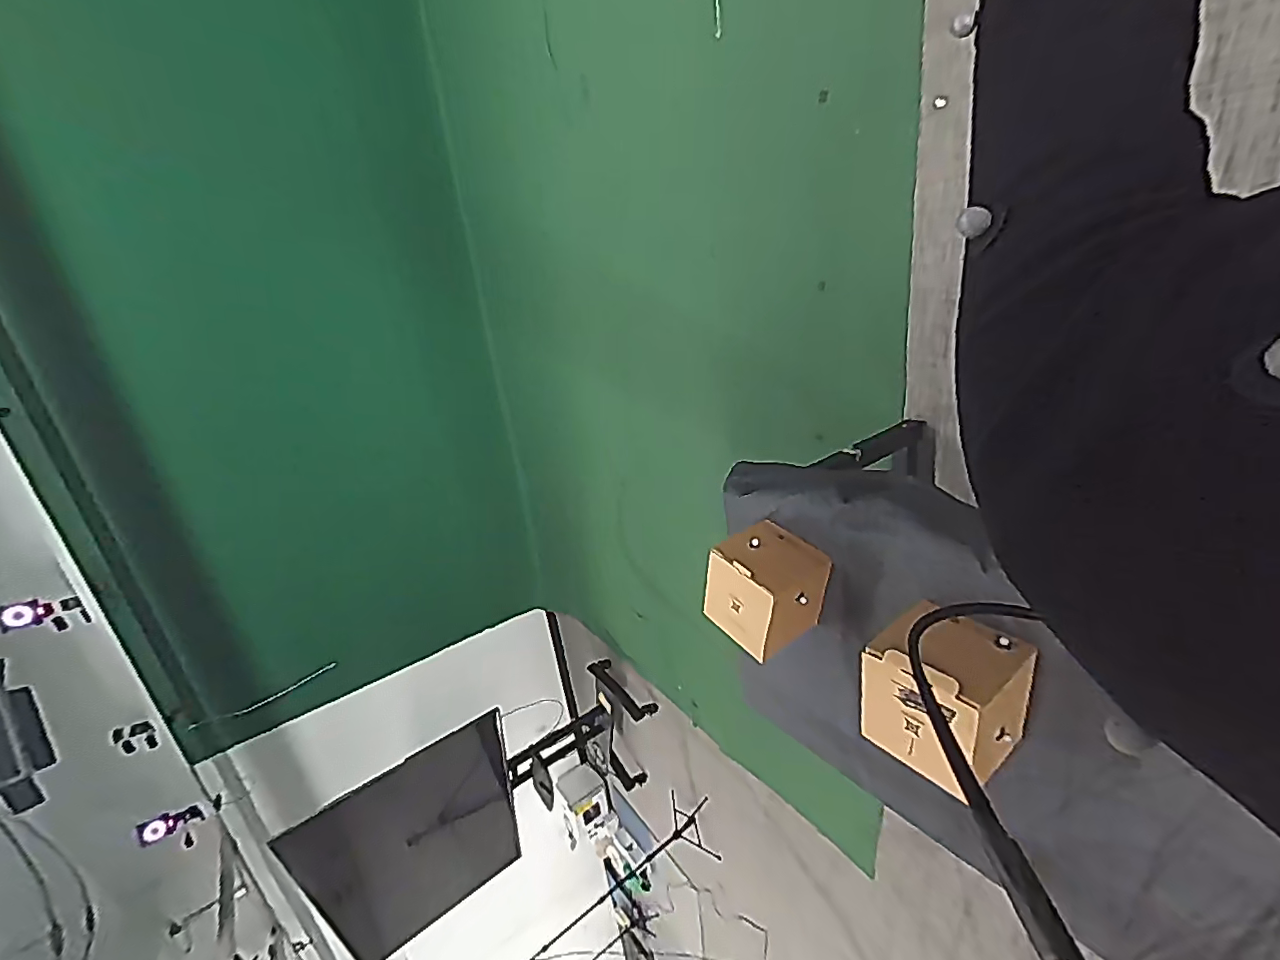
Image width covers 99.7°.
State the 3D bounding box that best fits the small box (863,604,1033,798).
[{"bbox_3d":[0.460,0.317,0.815,0.168,0.176,0.179,21,127,51],"label":"small box"}]

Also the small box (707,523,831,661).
[{"bbox_3d":[0.254,0.212,1.075,0.168,0.176,0.179,35,137,44],"label":"small box"}]
